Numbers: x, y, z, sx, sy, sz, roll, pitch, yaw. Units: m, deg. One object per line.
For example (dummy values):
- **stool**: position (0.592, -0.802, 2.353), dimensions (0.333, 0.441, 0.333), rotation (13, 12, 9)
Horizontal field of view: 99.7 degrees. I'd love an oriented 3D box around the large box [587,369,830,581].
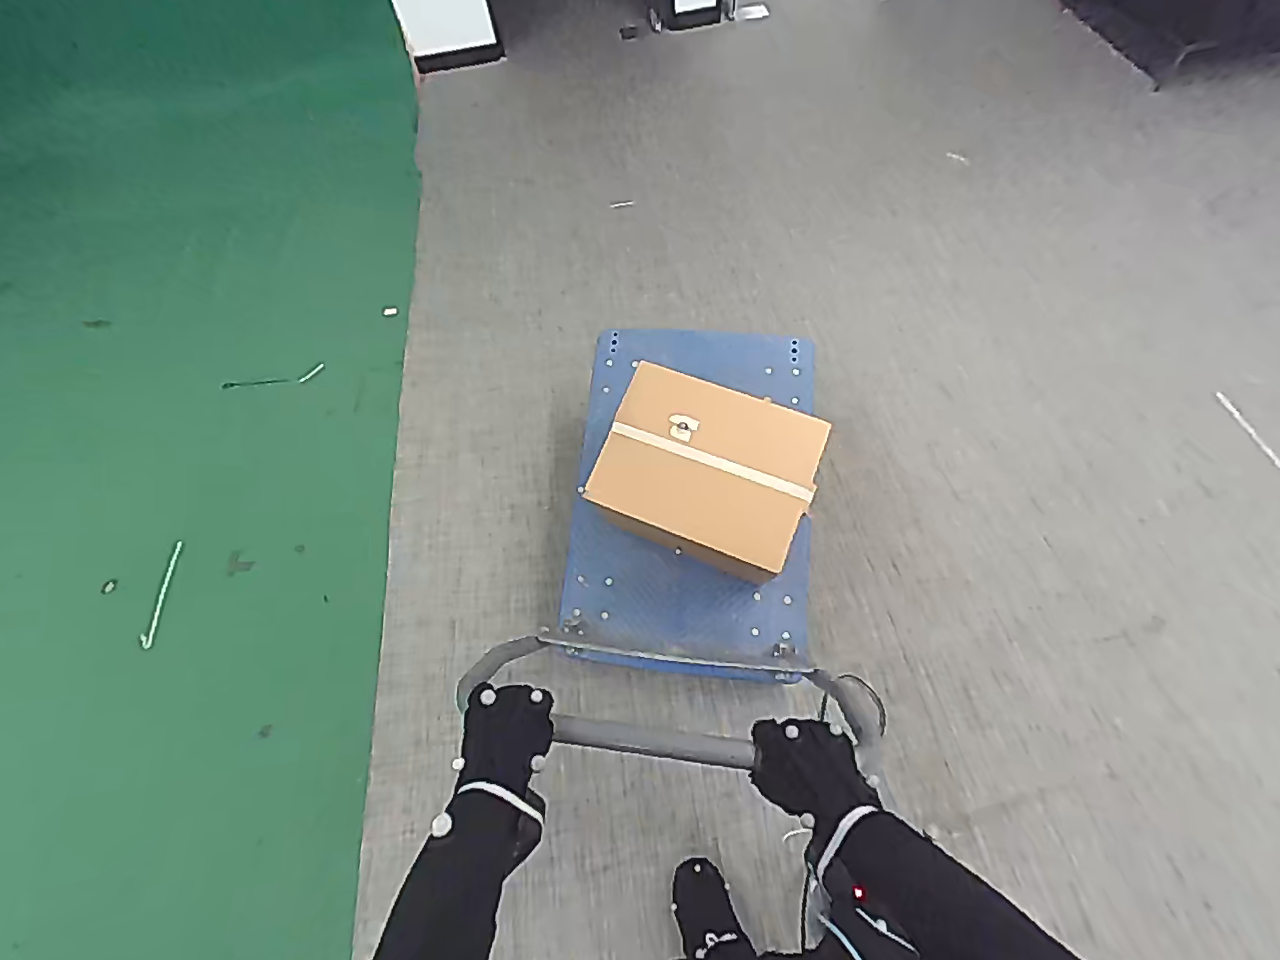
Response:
- **large box**: position (0.153, 0.006, 1.189), dimensions (0.408, 0.320, 0.320), rotation (20, 79, 12)
